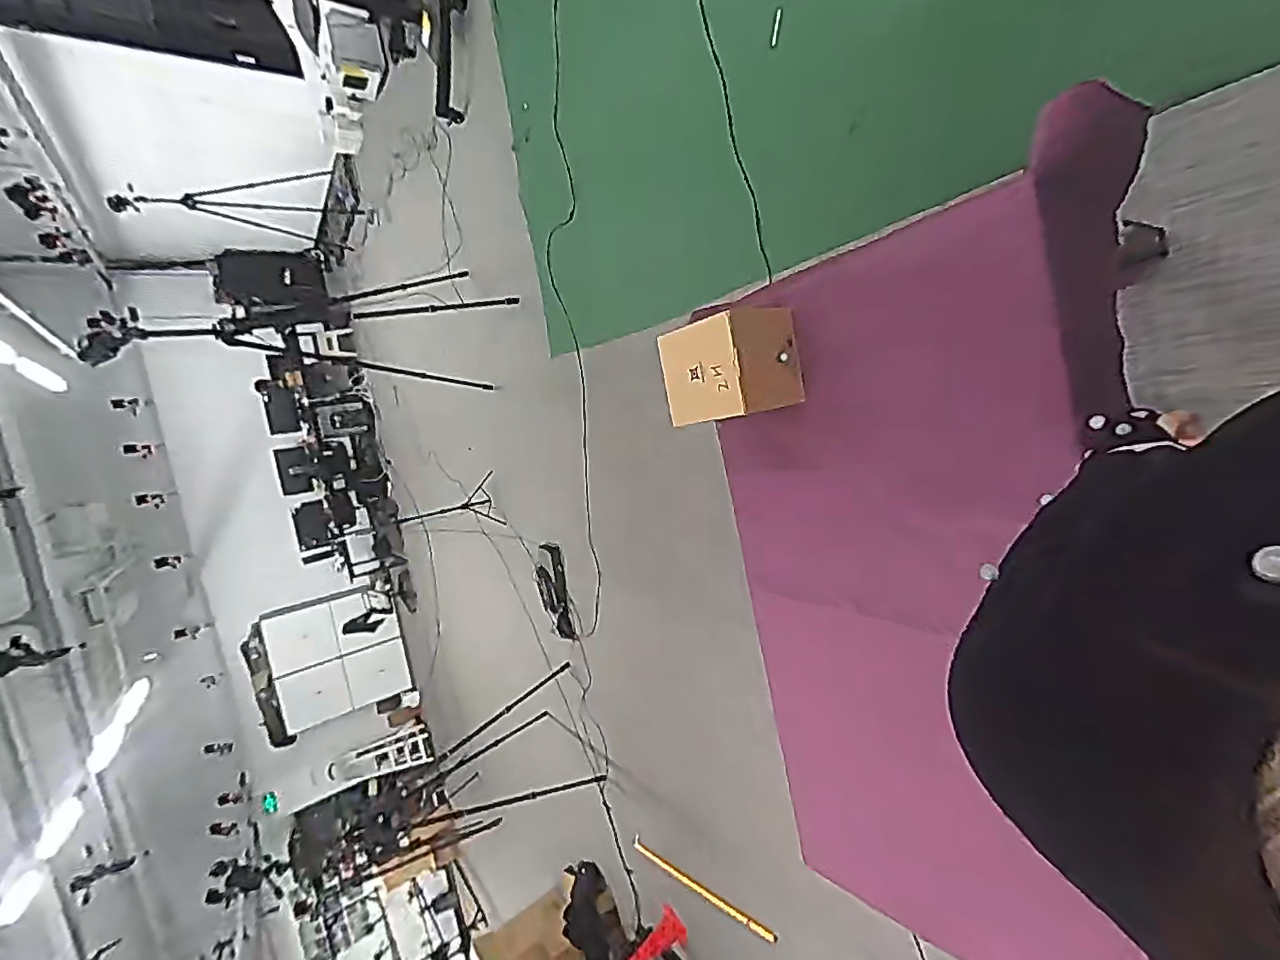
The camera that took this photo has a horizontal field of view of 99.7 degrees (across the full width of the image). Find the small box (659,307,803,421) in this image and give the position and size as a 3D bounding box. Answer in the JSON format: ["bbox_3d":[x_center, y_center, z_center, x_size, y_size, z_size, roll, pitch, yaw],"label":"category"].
[{"bbox_3d":[0.163,-0.204,0.967,0.179,0.176,0.168,-3,100,51],"label":"small box"}]
